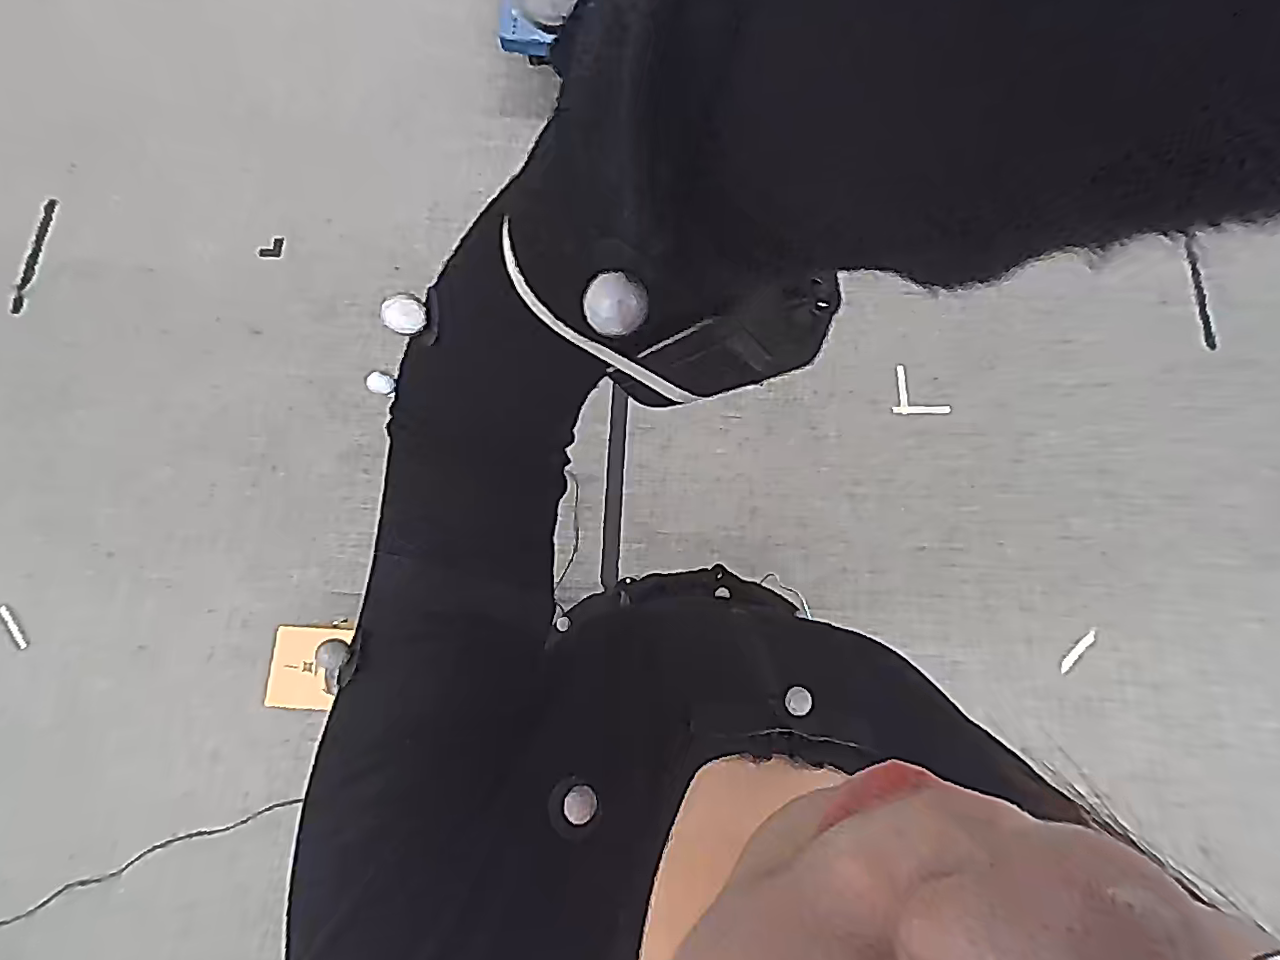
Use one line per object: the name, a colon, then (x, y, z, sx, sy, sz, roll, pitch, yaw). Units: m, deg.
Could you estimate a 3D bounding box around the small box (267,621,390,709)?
small box: (-0.691, 0.411, 1.225, 0.179, 0.176, 0.168, 3, 78, 1)
